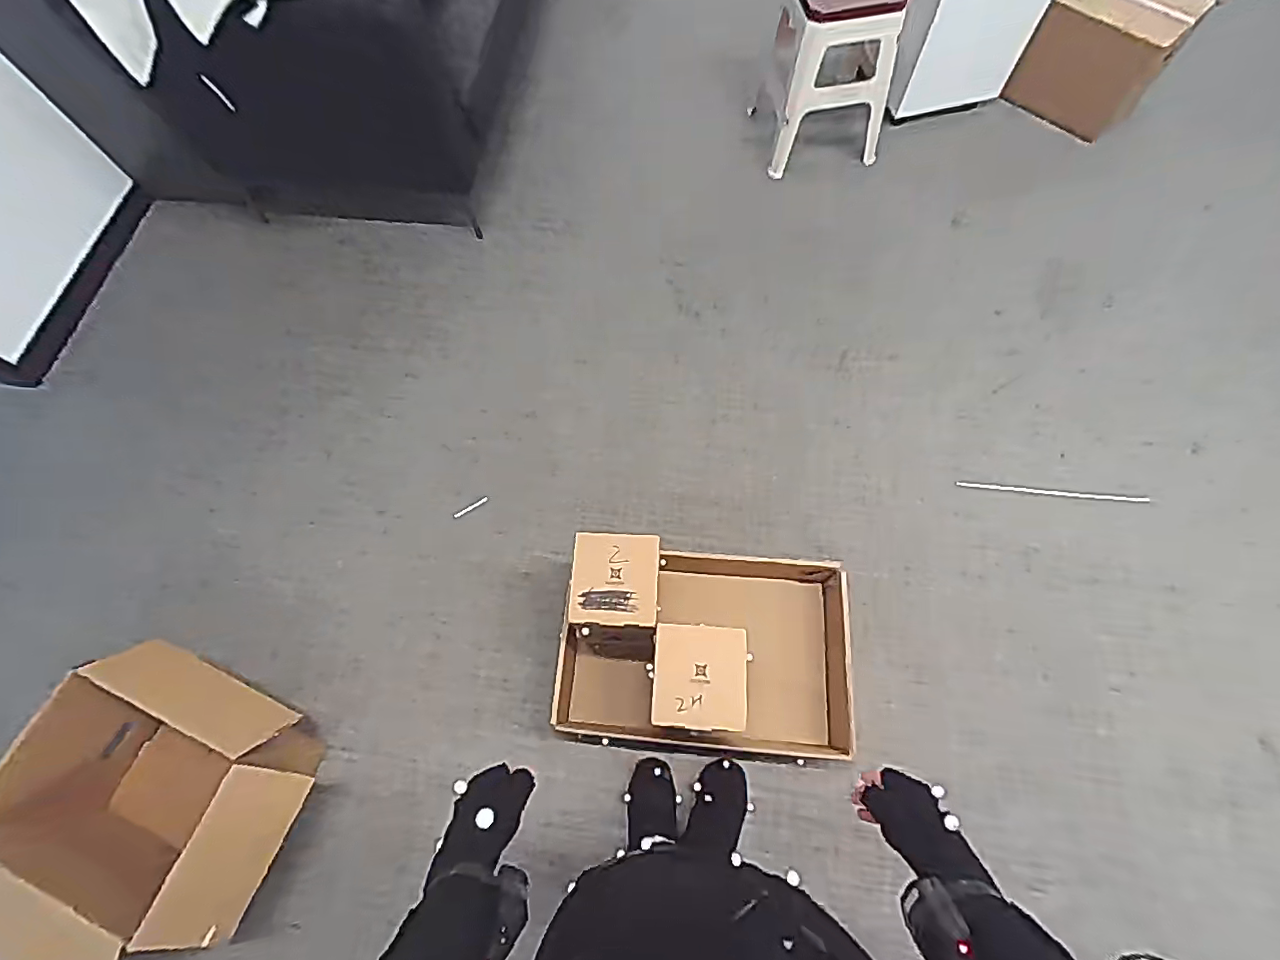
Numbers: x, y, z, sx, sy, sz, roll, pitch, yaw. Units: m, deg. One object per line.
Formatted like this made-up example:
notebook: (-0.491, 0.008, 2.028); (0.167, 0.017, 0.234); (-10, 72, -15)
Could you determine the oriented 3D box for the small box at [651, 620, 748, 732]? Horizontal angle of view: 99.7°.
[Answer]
small box: (0.108, 0.373, 1.026); (0.168, 0.176, 0.179); (4, 68, 3)
